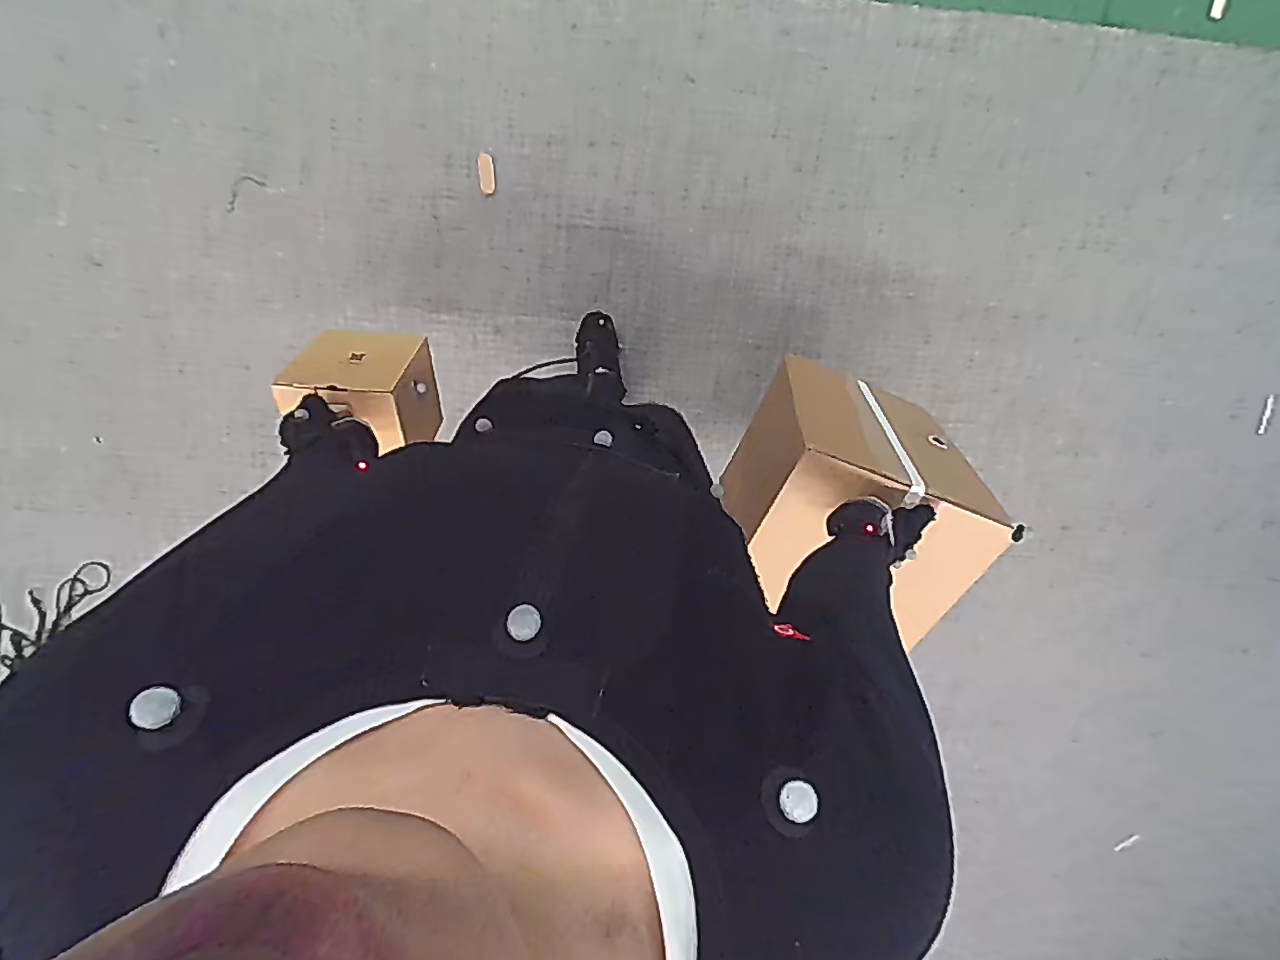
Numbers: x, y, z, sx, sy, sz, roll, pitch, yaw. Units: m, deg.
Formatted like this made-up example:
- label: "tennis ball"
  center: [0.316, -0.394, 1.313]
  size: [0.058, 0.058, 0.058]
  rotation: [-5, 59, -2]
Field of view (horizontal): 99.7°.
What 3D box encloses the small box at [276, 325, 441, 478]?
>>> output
- label: "small box"
  center: [-0.428, -0.126, 0.863]
  size: [0.168, 0.179, 0.176]
  rotation: [3, 132, -3]
